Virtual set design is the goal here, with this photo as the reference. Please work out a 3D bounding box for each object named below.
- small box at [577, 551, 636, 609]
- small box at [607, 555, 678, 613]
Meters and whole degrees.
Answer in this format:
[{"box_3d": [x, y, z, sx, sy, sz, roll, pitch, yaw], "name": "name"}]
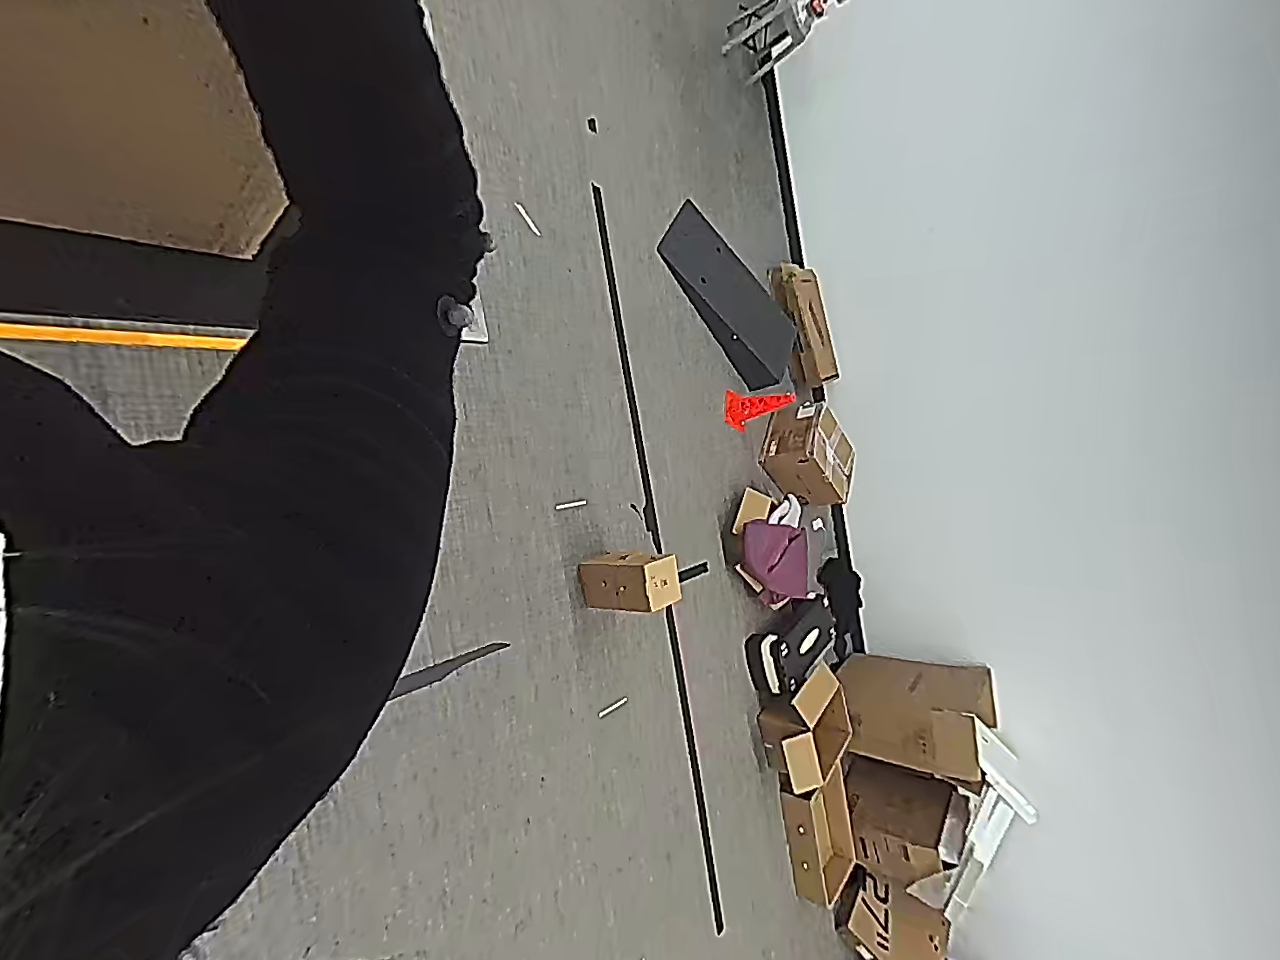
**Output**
[{"box_3d": [-0.115, 0.375, 2.033, 0.168, 0.176, 0.179, -15, 96, -48], "name": "small box"}, {"box_3d": [0.008, 0.363, 1.925, 0.179, 0.176, 0.168, -10, 91, -48], "name": "small box"}]
